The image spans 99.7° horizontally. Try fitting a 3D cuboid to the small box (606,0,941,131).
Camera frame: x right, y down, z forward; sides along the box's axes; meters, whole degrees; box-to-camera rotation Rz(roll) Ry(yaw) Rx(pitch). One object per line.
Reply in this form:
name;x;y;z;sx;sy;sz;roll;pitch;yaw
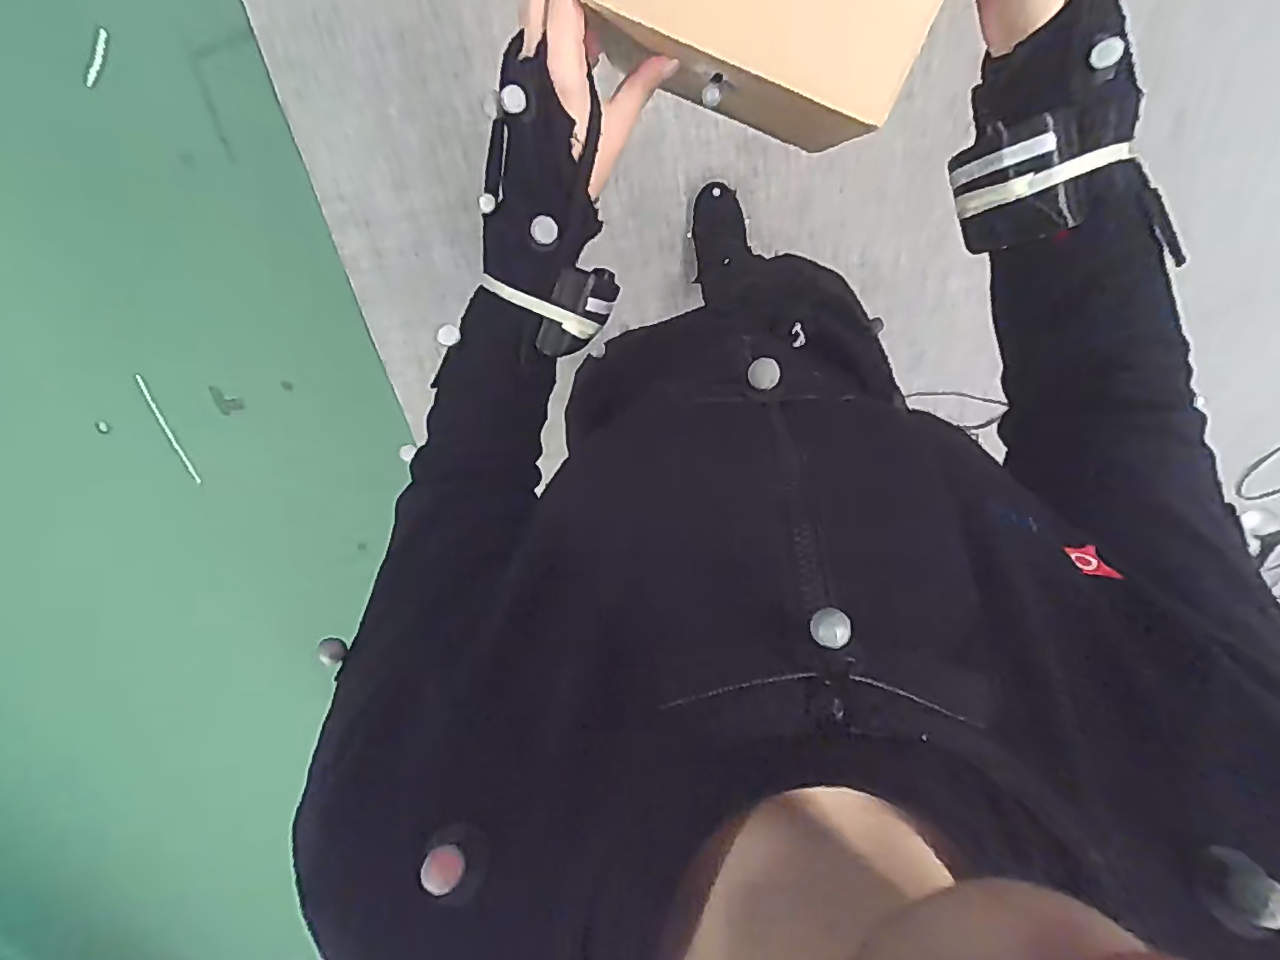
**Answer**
small box;0.081;-0.324;0.310;0.179;0.176;0.168;19;118;-6
